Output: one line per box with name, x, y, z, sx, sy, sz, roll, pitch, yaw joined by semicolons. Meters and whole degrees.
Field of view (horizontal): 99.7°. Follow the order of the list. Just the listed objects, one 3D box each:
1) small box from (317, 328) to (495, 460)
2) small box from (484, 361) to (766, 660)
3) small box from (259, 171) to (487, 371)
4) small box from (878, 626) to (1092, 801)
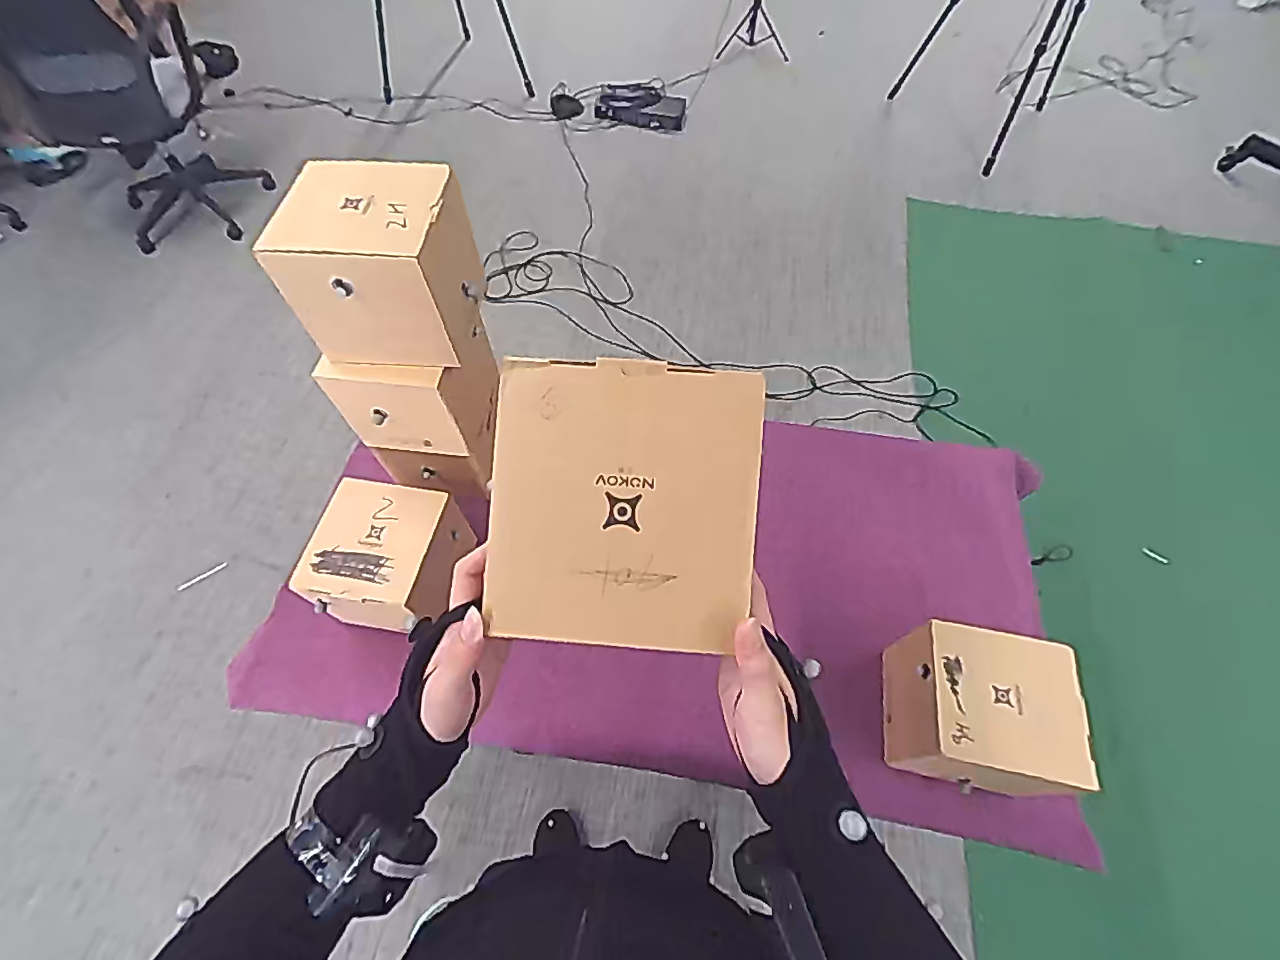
small box;-0.325;-0.147;0.798;0.168;0.176;0.179;6;59;2
small box;-0.007;0.019;0.416;0.168;0.176;0.179;5;90;2
small box;-0.308;-0.252;0.669;0.179;0.176;0.168;3;59;1
small box;0.441;0.315;0.722;0.179;0.176;0.168;11;58;6
